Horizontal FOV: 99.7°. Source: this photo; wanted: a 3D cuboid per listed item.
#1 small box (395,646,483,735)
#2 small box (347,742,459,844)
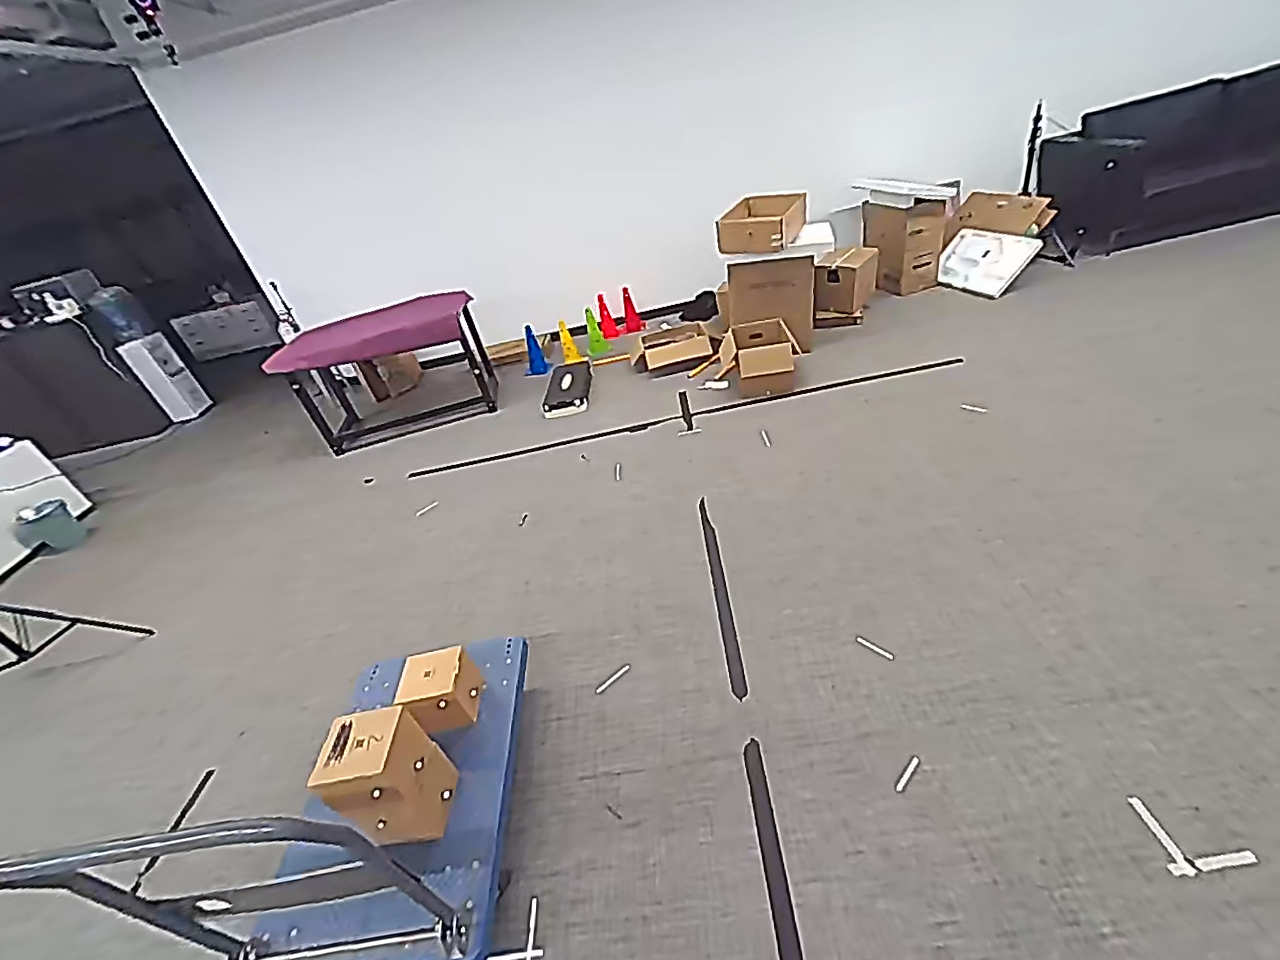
[{"bbox_3d":[-0.593,0.632,1.615,0.179,0.176,0.168,-13,34,1],"label":"small box"},{"bbox_3d":[-0.590,0.796,1.370,0.179,0.176,0.168,-10,35,6],"label":"small box"}]
